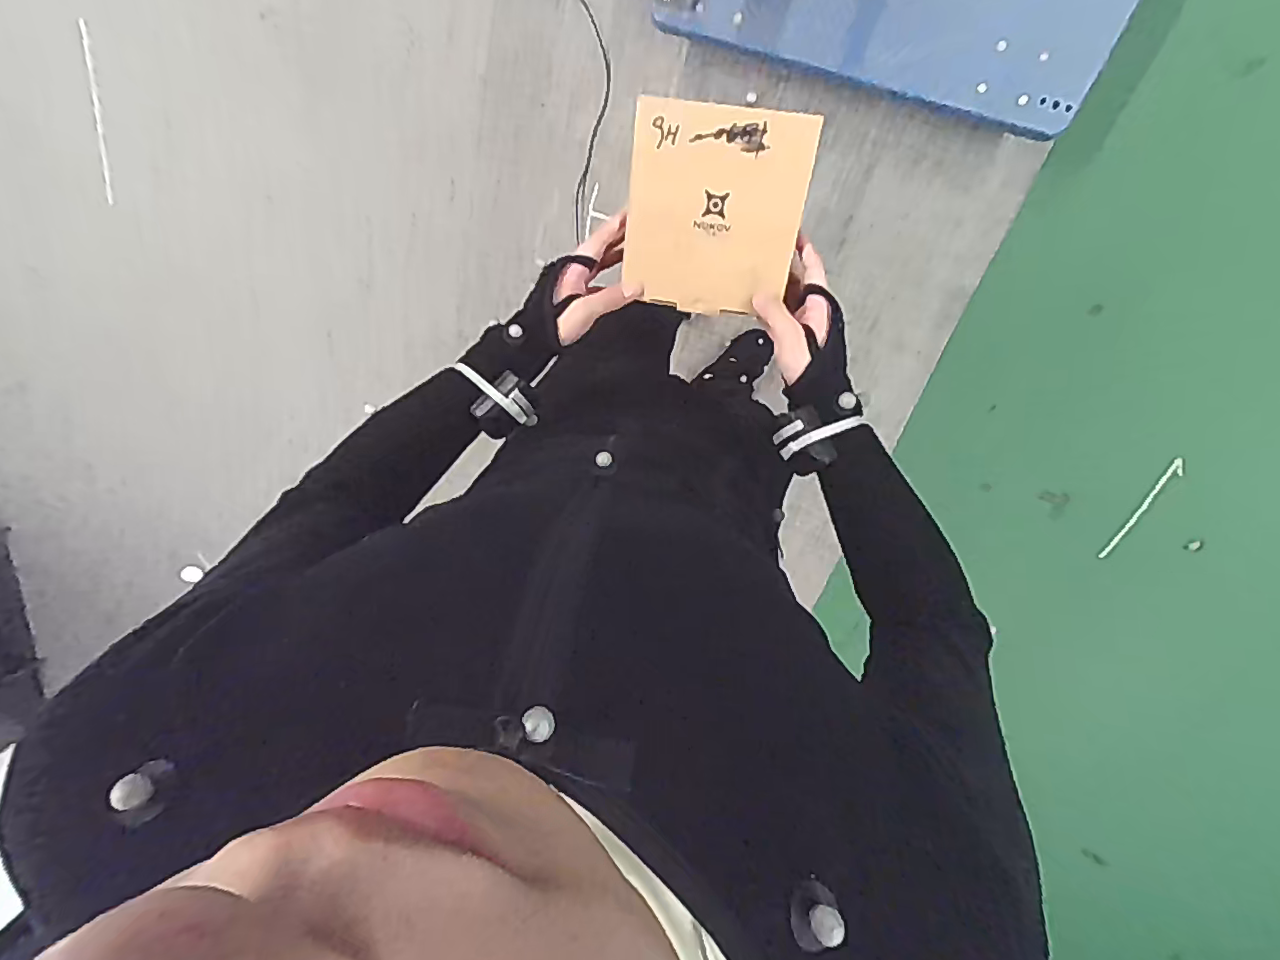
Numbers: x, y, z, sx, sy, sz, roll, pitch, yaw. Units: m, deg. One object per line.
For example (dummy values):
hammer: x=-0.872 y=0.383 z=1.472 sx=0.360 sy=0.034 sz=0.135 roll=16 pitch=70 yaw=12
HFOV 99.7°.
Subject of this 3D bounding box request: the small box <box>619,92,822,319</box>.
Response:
small box: x=0.079 y=-0.291 z=0.581 sx=0.168 sy=0.176 sz=0.179 roll=10 pitch=120 yaw=3
